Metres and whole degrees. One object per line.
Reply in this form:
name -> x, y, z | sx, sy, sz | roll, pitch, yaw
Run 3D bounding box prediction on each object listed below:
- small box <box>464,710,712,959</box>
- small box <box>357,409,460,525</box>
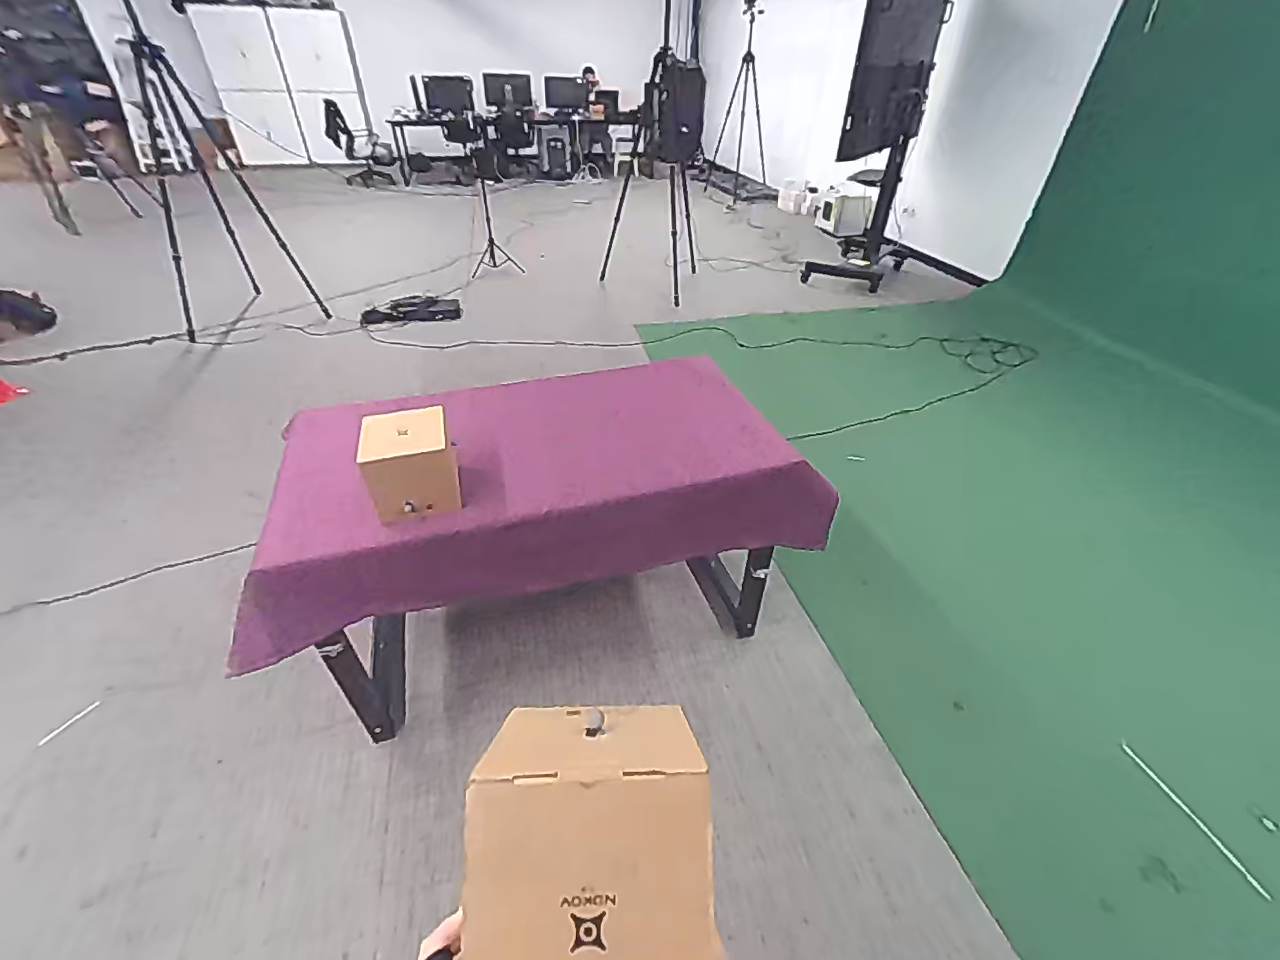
small box -> -0.037, 0.295, 0.439 | 0.168, 0.176, 0.179 | 0, 81, -2
small box -> -0.489, -0.030, 1.161 | 0.168, 0.176, 0.179 | -11, 41, -14
